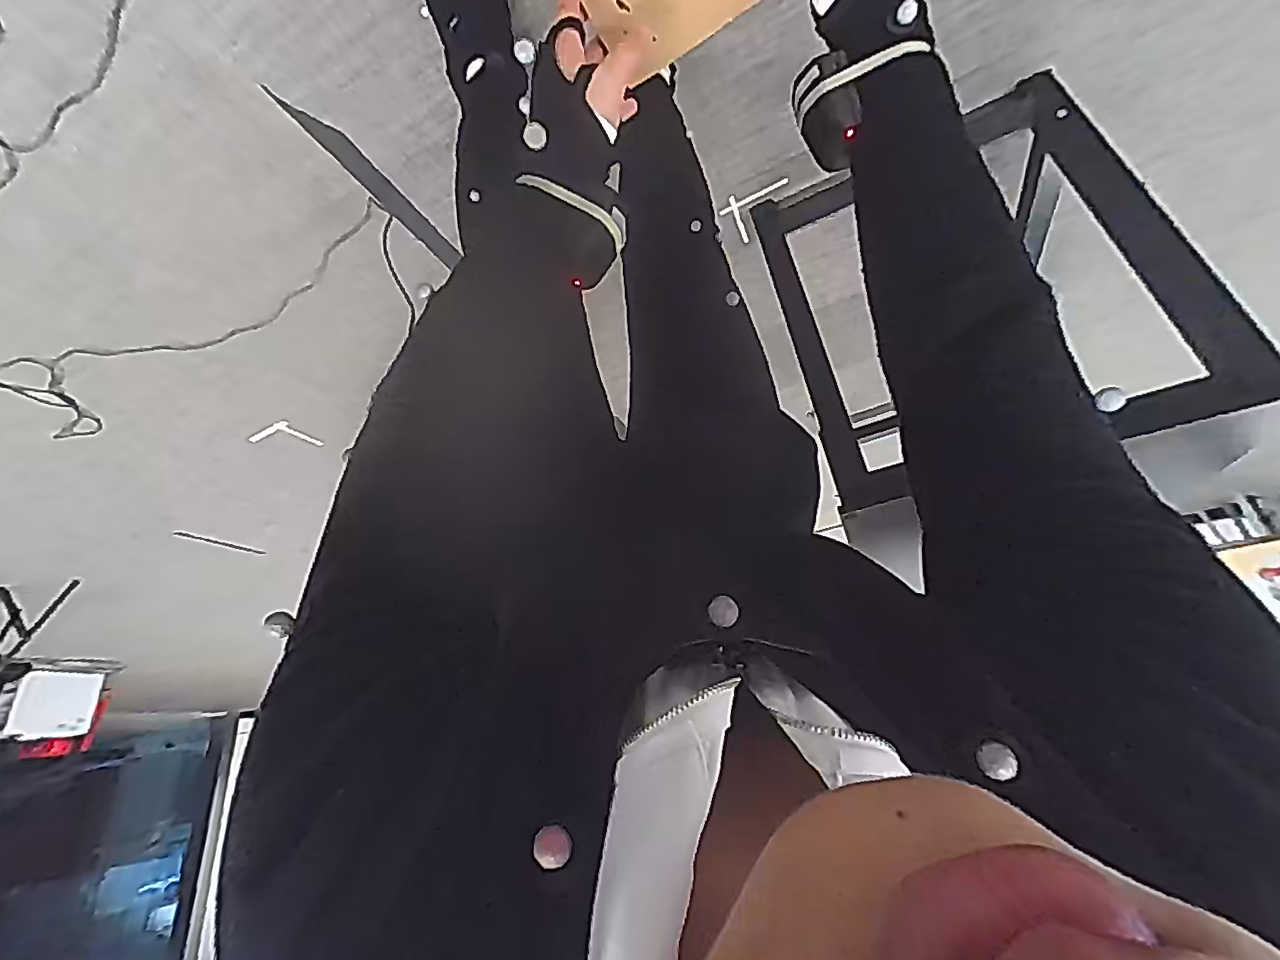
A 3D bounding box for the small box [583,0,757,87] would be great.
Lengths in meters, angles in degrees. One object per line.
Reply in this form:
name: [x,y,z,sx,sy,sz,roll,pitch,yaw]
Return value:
small box: [0.015,-0.478,0.425,0.179,0.176,0.168,-22,149,23]
